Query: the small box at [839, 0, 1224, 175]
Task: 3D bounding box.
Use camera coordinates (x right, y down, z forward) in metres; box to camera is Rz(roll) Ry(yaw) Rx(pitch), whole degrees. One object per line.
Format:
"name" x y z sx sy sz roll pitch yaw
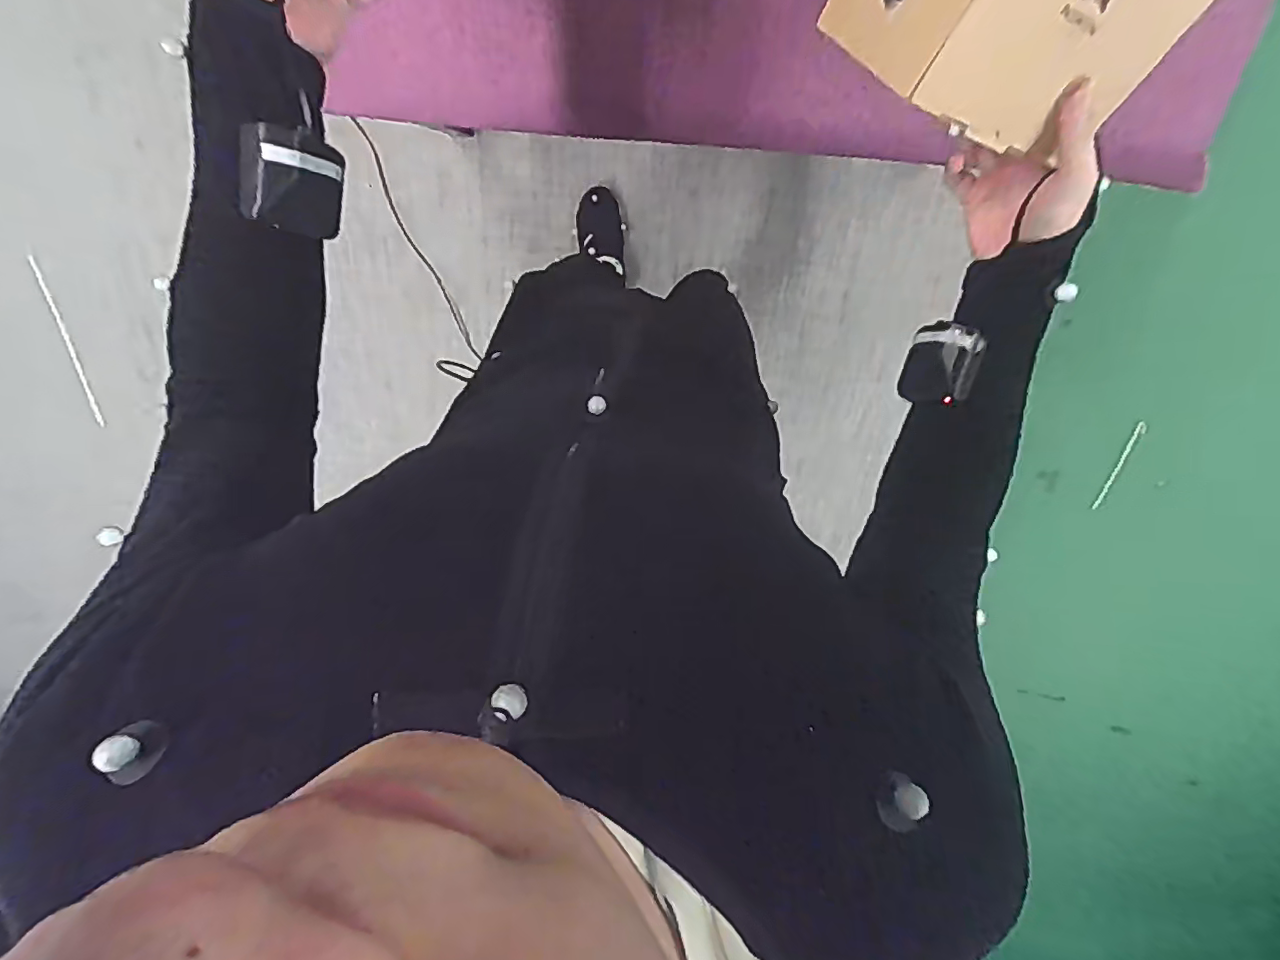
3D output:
"small box" 0.264 -0.356 0.370 0.168 0.176 0.179 5 141 -23
